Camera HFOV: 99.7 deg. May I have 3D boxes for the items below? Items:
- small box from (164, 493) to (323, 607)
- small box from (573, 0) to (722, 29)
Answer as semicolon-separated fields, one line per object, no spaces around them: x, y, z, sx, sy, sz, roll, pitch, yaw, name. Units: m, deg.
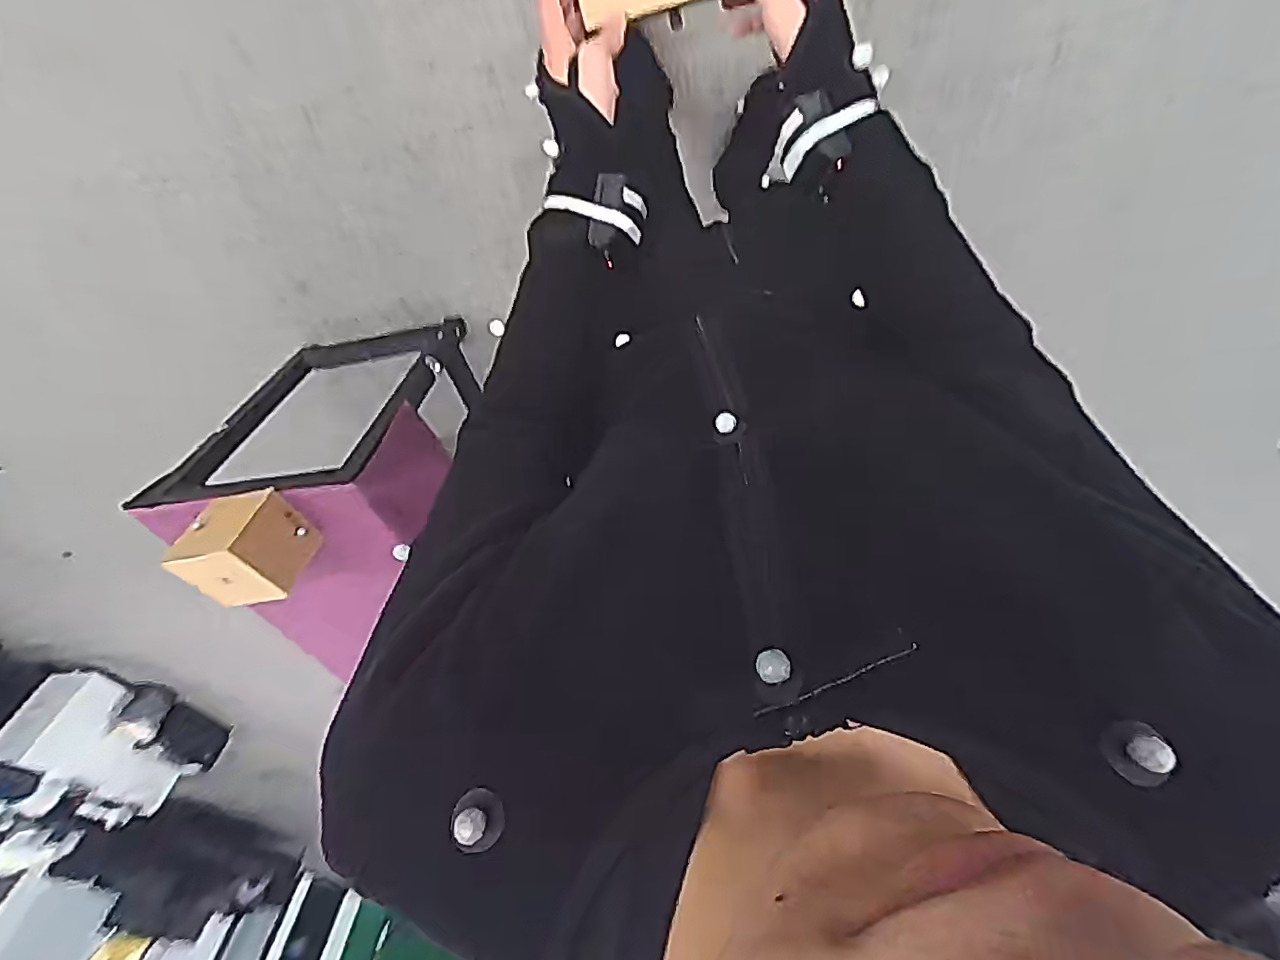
-0.824;0.147;1.145;0.179;0.176;0.168;-9;134;15;small box
0.014;-0.503;0.449;0.168;0.176;0.179;-9;127;8;small box
